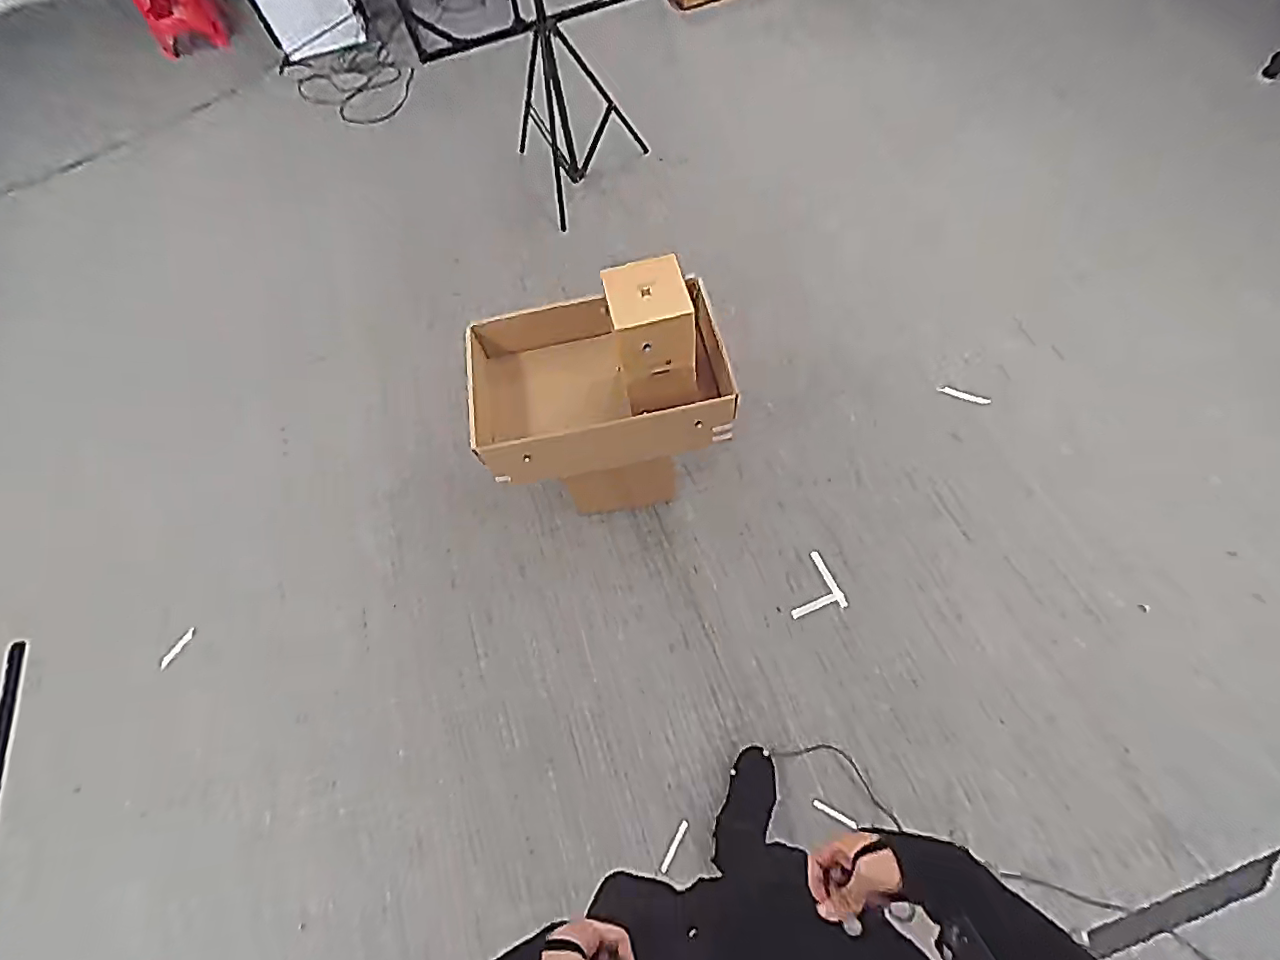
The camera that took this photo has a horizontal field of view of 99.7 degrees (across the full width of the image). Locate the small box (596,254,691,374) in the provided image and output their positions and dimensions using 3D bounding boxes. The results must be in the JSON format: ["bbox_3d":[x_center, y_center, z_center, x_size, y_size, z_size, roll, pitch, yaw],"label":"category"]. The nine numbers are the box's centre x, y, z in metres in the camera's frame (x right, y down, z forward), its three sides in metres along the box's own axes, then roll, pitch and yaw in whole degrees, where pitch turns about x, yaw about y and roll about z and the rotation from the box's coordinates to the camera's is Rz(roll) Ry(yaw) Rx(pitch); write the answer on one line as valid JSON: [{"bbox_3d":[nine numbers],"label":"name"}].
[{"bbox_3d":[0.013,-0.351,1.175,0.168,0.176,0.179,-14,62,-1],"label":"small box"}]

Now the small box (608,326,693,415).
[{"bbox_3d":[0.029,-0.277,1.319,0.168,0.176,0.179,-14,62,-1],"label":"small box"}]
